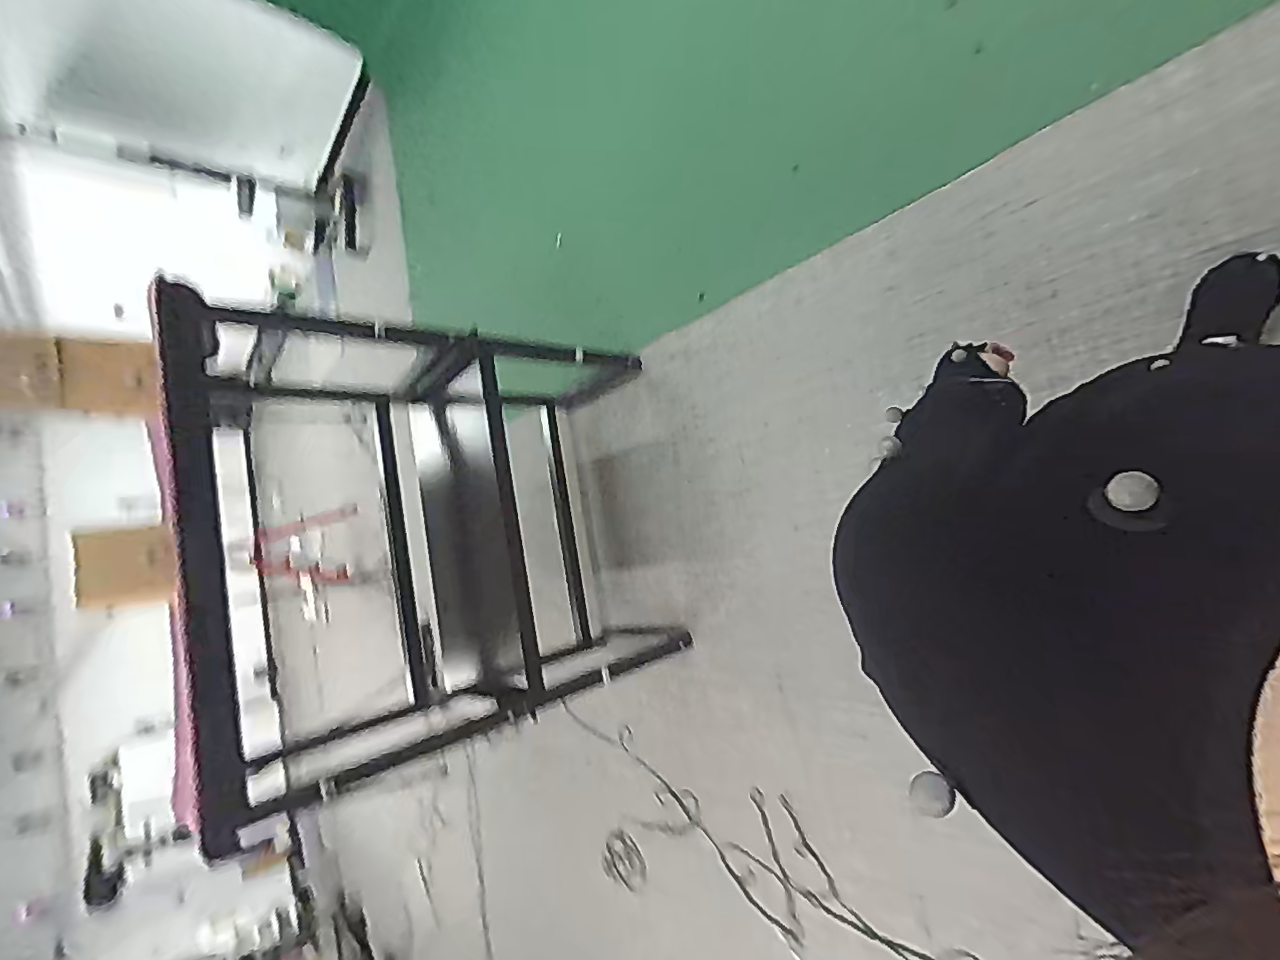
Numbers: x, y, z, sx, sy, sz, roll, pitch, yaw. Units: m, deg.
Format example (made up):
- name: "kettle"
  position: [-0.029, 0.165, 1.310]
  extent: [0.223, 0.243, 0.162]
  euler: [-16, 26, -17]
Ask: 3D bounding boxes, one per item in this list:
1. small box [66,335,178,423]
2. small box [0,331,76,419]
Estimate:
- name: "small box"
  position: [-1.153, -0.217, 1.210]
  extent: [0.179, 0.176, 0.168]
  euler: [-1, 93, 46]
- name: "small box"
  position: [-1.264, -0.207, 1.093]
  extent: [0.179, 0.176, 0.168]
  euler: [4, 98, 44]
